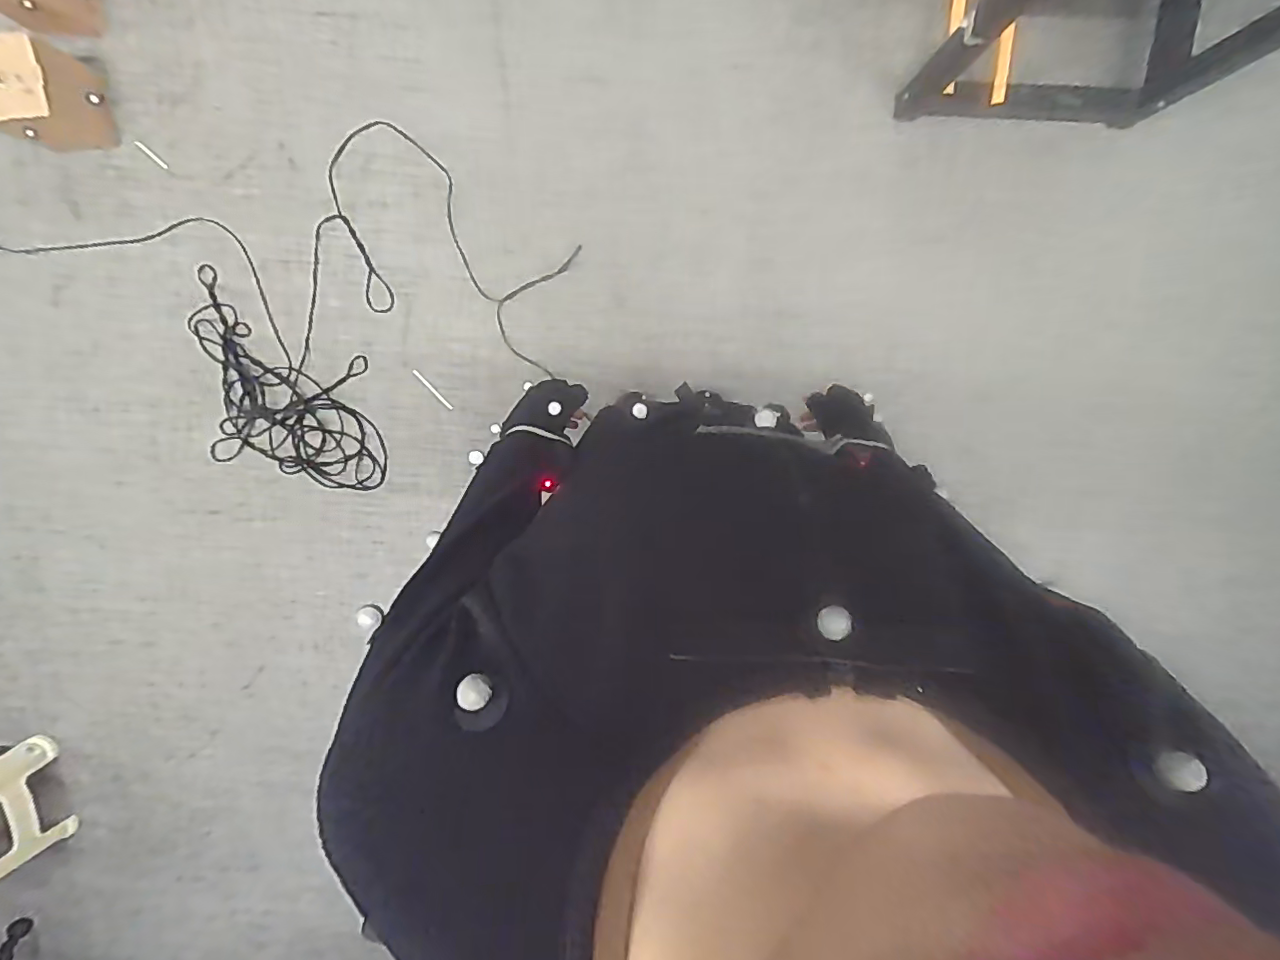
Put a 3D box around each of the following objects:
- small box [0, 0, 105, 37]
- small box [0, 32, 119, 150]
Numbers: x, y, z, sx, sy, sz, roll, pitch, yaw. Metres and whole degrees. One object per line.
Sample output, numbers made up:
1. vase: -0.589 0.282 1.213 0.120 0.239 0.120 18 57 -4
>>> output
1. small box: -1.374 -1.141 1.215 0.179 0.176 0.168 3 101 -1
2. small box: -1.391 -0.893 1.259 0.179 0.176 0.168 -5 101 1
